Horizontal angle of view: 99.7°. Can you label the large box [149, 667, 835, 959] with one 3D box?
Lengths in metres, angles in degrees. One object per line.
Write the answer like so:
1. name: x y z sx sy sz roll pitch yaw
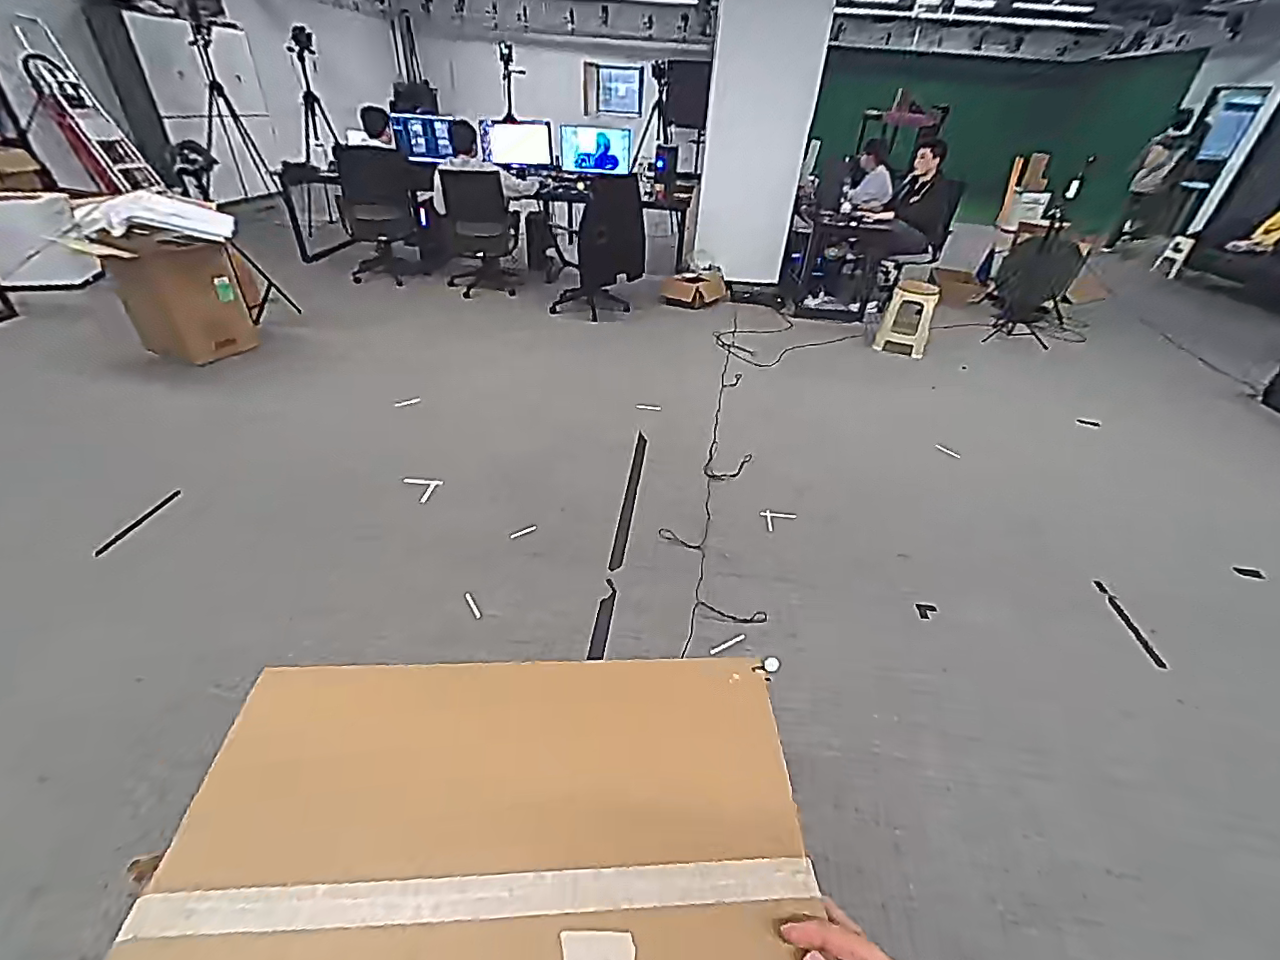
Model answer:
1. large box: -0.092 0.374 0.434 0.408 0.320 0.320 1 42 -5
